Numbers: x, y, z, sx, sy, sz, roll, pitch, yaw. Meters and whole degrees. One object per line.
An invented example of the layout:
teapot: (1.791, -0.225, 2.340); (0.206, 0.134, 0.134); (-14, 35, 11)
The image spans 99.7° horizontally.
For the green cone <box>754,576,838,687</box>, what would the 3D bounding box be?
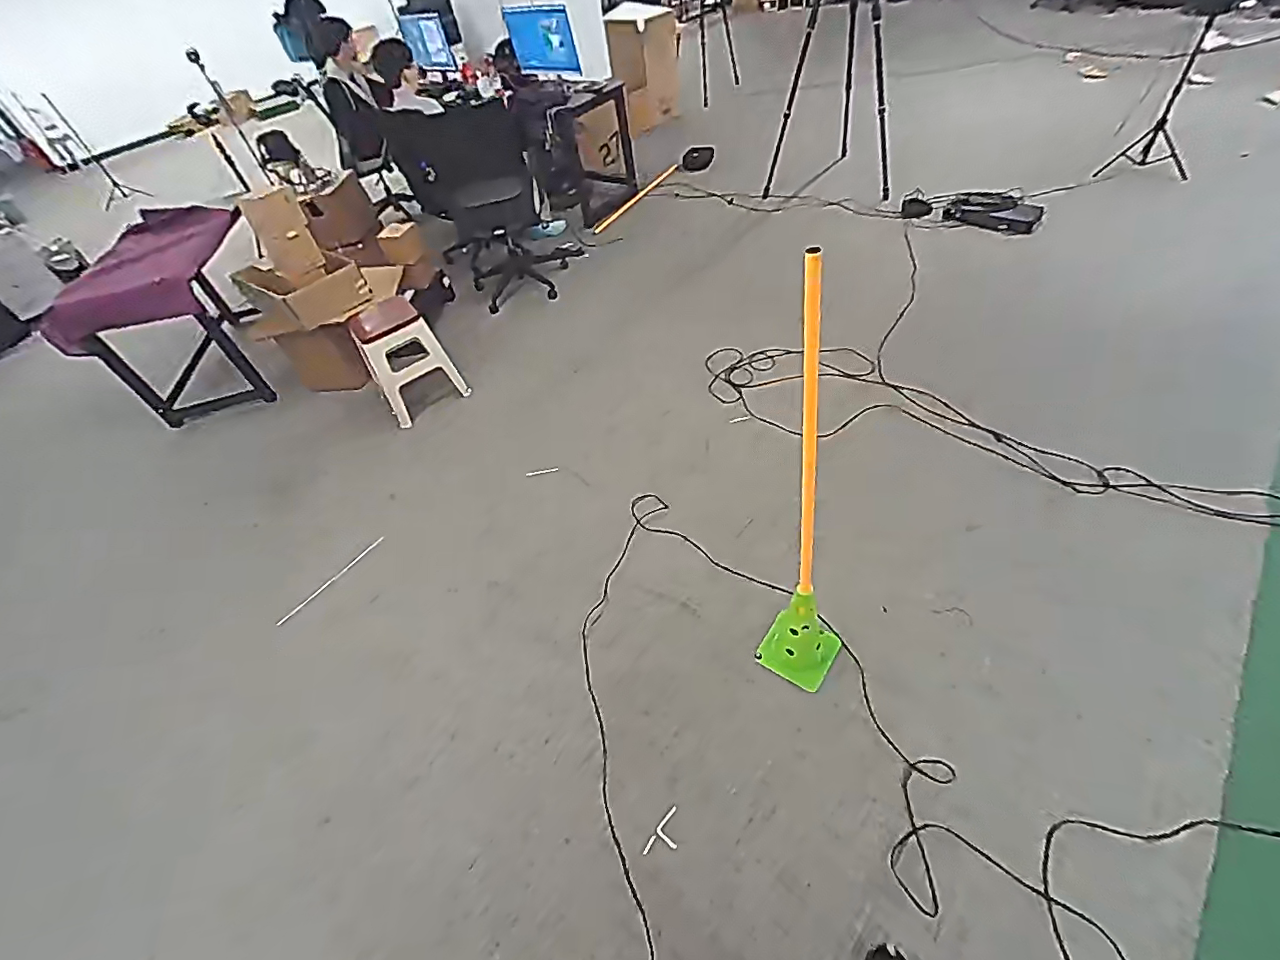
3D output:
green cone: (0.447, 0.385, 1.503); (0.200, 0.368, 0.202); (24, 56, 29)
